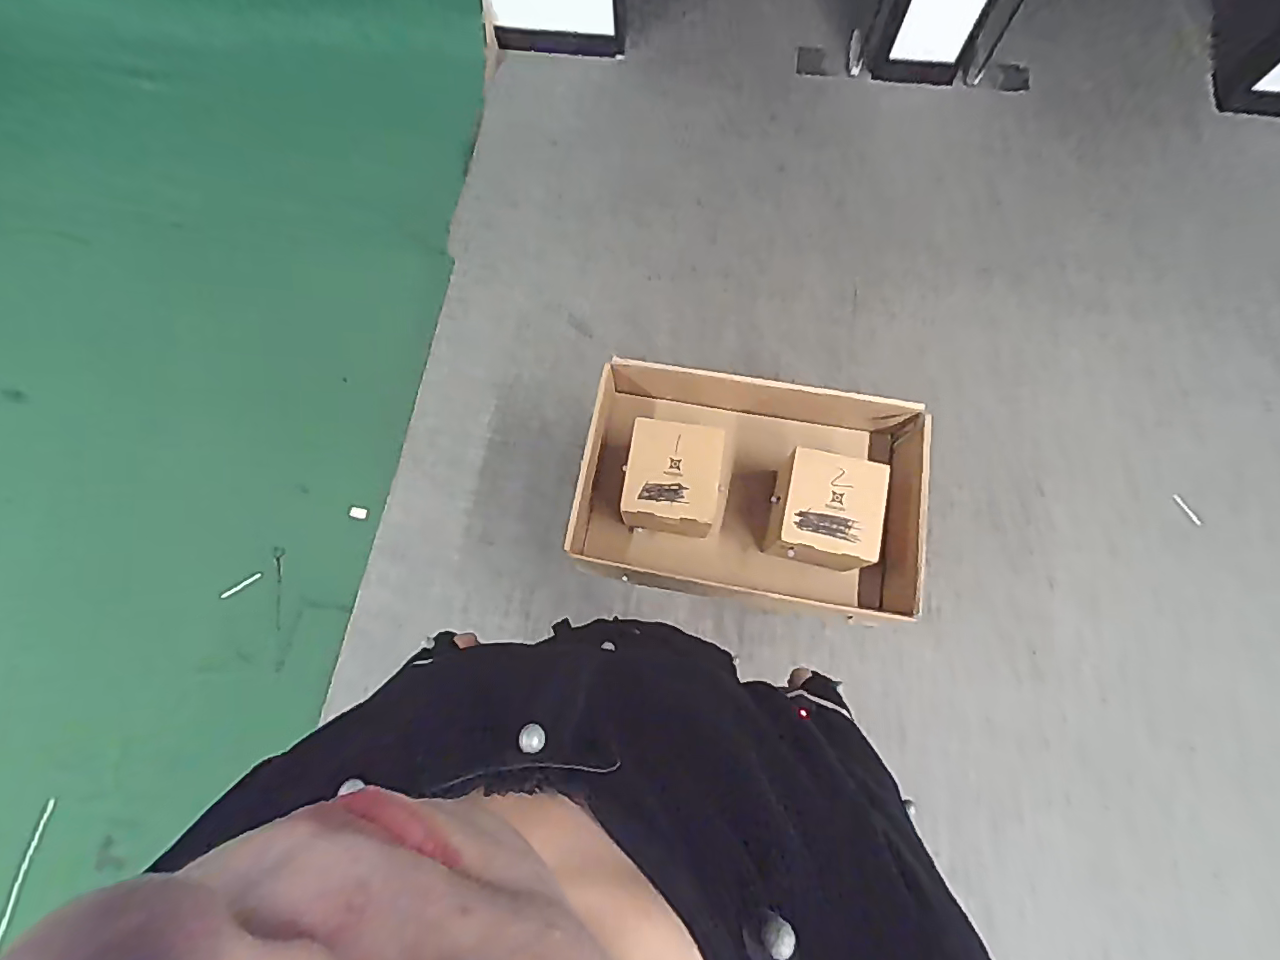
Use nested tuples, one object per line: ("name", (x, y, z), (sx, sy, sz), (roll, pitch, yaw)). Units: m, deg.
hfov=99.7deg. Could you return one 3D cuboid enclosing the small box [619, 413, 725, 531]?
("small box", (0.062, -0.007, 1.024), (0.168, 0.176, 0.179), (8, 76, 4))
